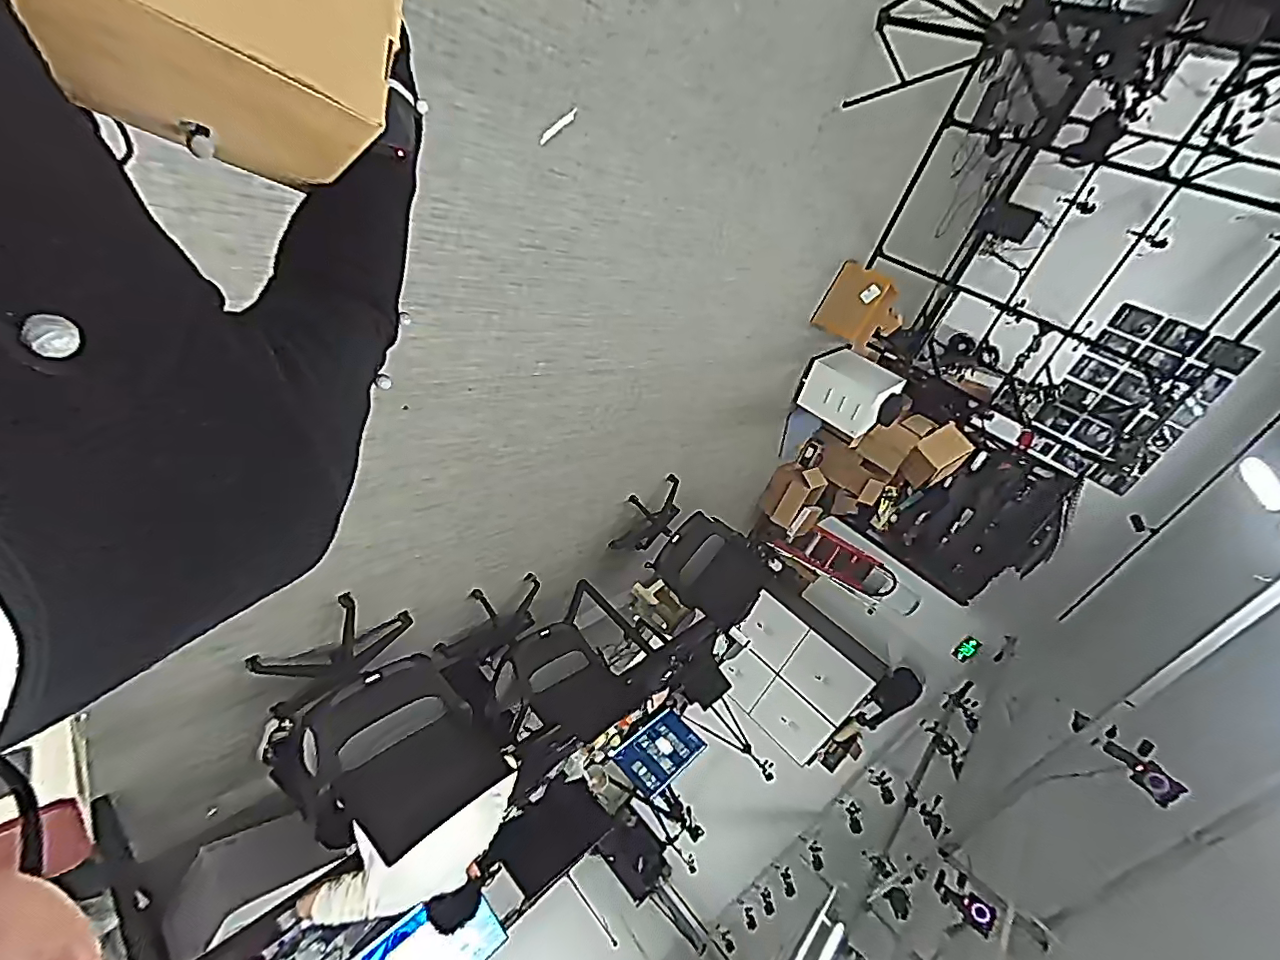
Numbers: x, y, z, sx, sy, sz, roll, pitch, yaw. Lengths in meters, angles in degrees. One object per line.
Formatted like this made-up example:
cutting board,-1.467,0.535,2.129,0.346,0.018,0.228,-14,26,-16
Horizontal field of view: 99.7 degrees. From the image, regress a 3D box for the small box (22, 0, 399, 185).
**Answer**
small box,-0.291,-0.337,0.378,0.179,0.176,0.168,6,89,-46
